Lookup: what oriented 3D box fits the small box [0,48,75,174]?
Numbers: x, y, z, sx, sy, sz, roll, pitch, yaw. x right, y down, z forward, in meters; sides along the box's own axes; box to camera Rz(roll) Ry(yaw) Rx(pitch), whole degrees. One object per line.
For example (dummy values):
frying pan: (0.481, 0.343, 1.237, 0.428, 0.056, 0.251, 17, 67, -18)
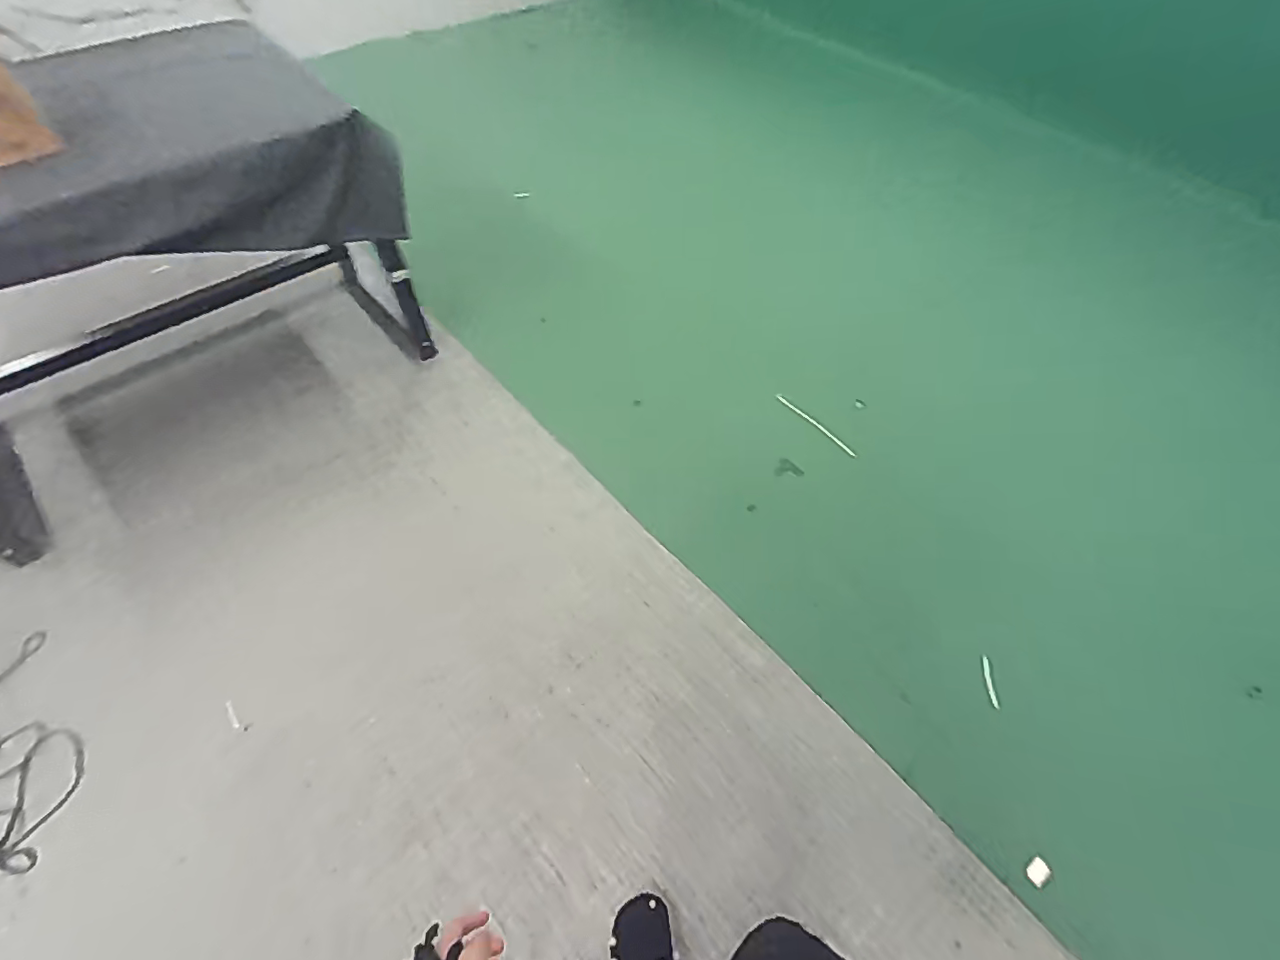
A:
small box: (-1.212, -0.690, 0.991, 0.168, 0.176, 0.179, -36, 66, -24)
